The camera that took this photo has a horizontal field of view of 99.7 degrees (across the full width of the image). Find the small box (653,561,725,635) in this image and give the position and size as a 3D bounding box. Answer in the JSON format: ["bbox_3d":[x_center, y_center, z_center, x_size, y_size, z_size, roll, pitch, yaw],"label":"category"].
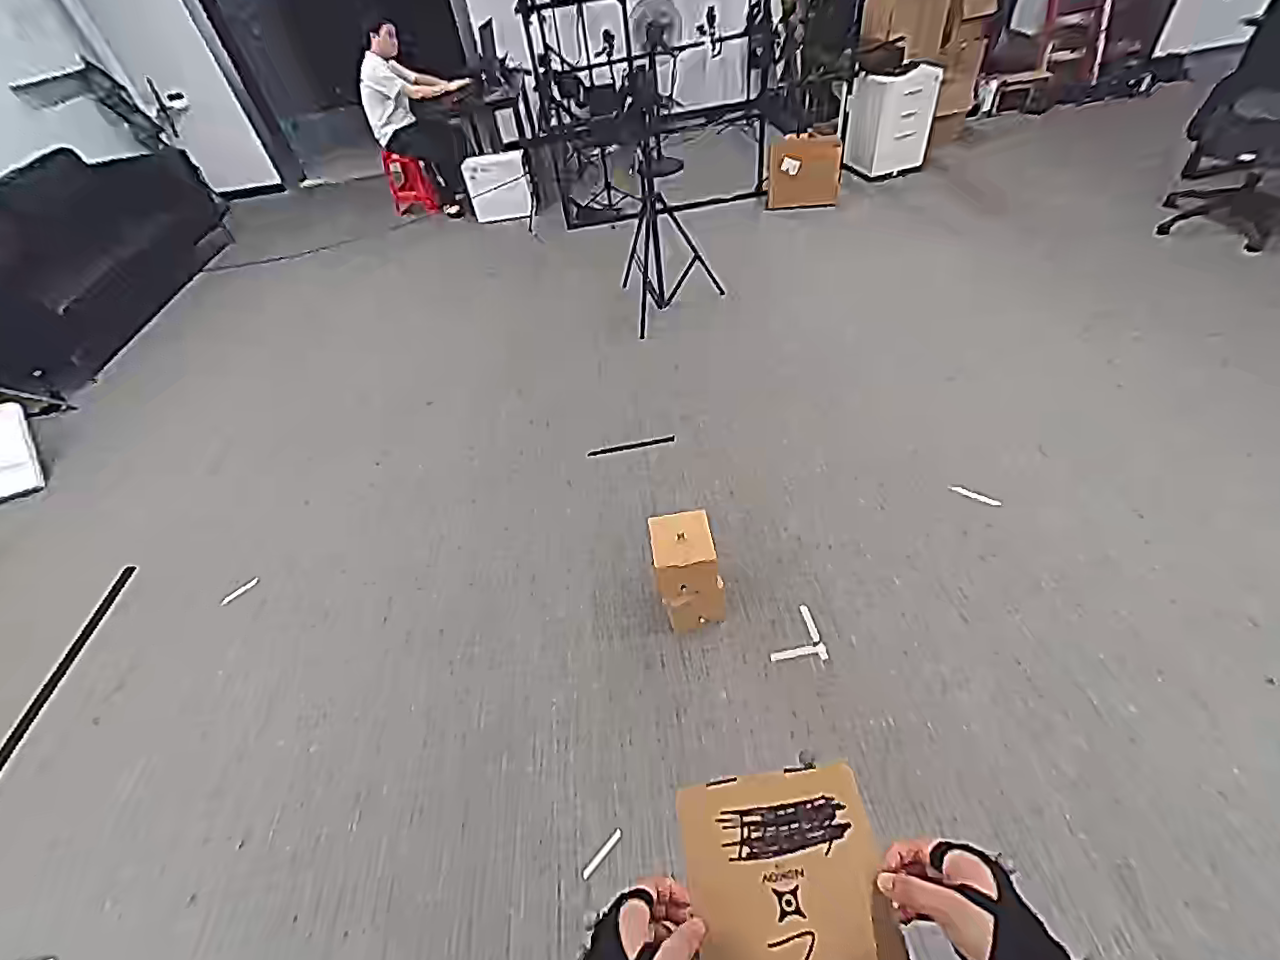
[{"bbox_3d":[0.147,0.332,1.628,0.168,0.176,0.179,-18,46,-8],"label":"small box"}]

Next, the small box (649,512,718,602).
[{"bbox_3d":[0.120,0.216,1.517,0.168,0.176,0.179,-9,46,1],"label":"small box"}]
